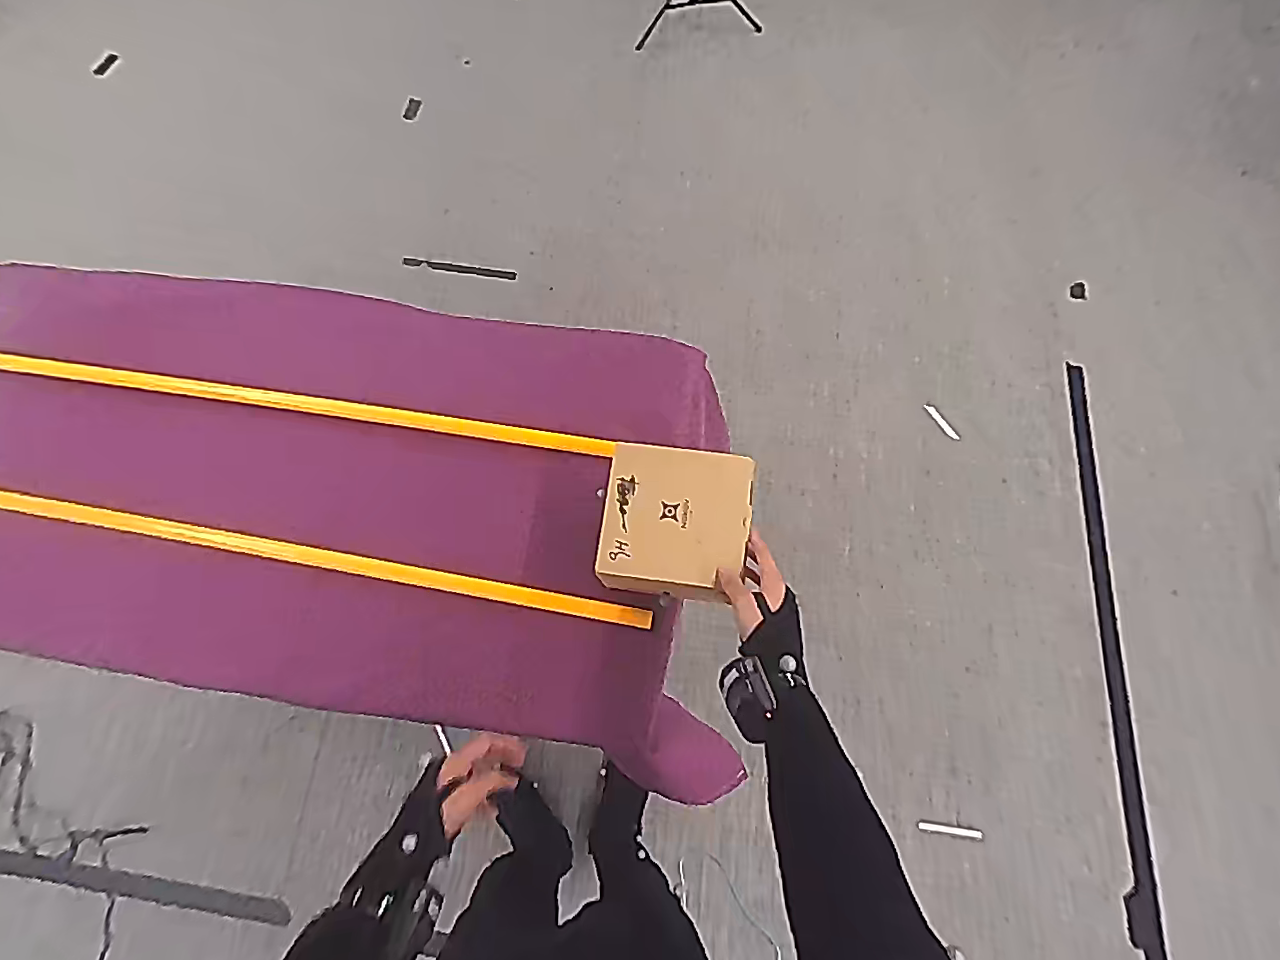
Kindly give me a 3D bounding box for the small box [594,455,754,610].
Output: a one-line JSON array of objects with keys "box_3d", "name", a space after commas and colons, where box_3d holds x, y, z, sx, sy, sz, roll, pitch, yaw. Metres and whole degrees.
[{"box_3d": [0.045, 0.080, 0.729, 0.179, 0.176, 0.168, 8, 73, 4], "name": "small box"}]
